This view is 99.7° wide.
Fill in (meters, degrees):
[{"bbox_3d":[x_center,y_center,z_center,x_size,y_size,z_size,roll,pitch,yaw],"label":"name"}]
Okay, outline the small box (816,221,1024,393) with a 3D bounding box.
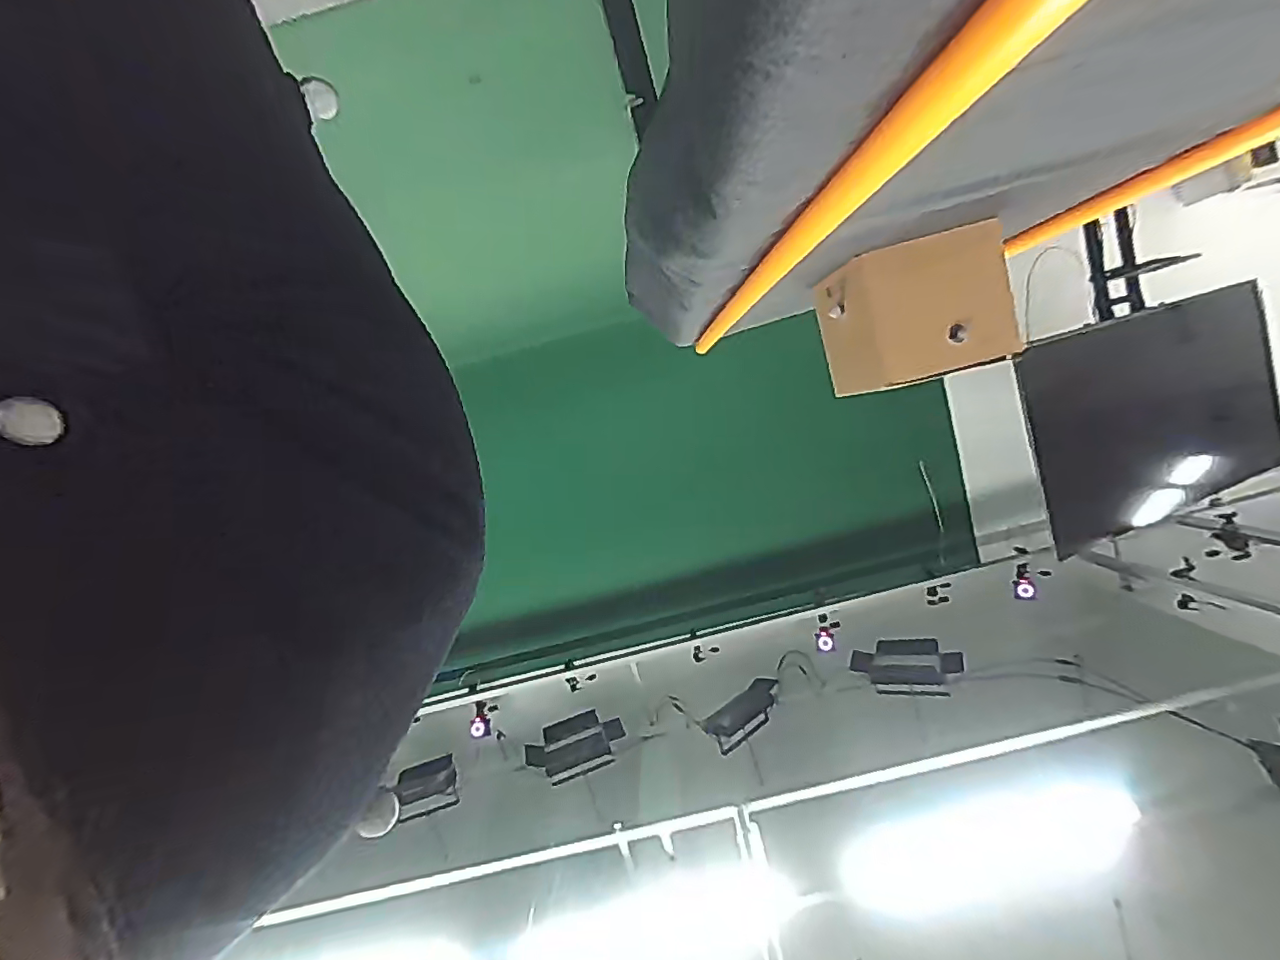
[{"bbox_3d":[0.362,-0.223,0.726,0.179,0.176,0.168,-15,-174,0],"label":"small box"}]
